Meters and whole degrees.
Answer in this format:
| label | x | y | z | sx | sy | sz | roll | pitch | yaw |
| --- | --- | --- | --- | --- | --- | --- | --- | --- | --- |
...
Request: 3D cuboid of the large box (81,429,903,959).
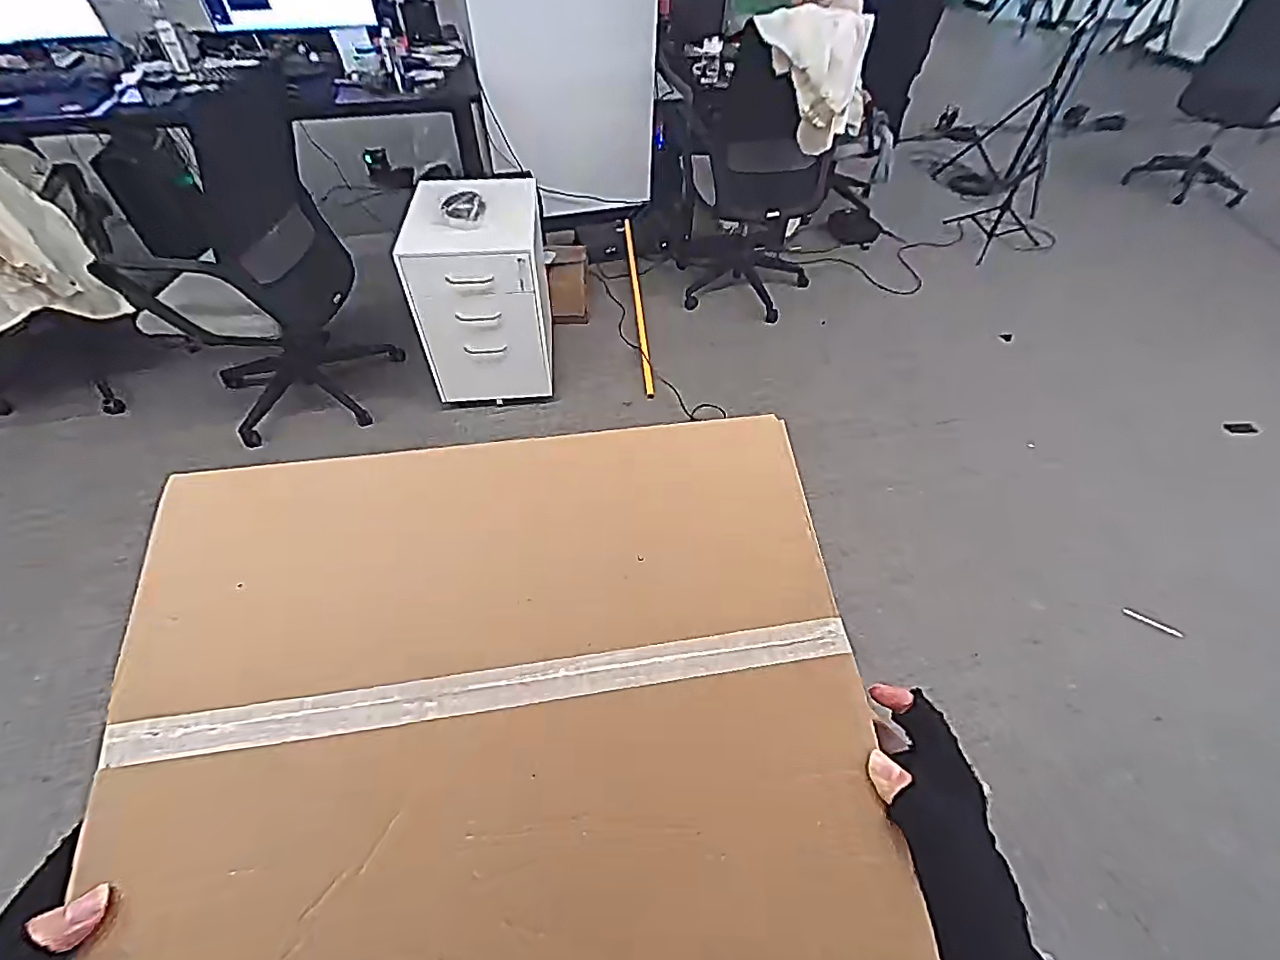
| label | x | y | z | sx | sy | sz | roll | pitch | yaw |
| --- | --- | --- | --- | --- | --- | --- | --- | --- | --- |
| large box | -0.086 | 0.184 | 0.448 | 0.408 | 0.320 | 0.320 | -6 | 65 | -6 |
